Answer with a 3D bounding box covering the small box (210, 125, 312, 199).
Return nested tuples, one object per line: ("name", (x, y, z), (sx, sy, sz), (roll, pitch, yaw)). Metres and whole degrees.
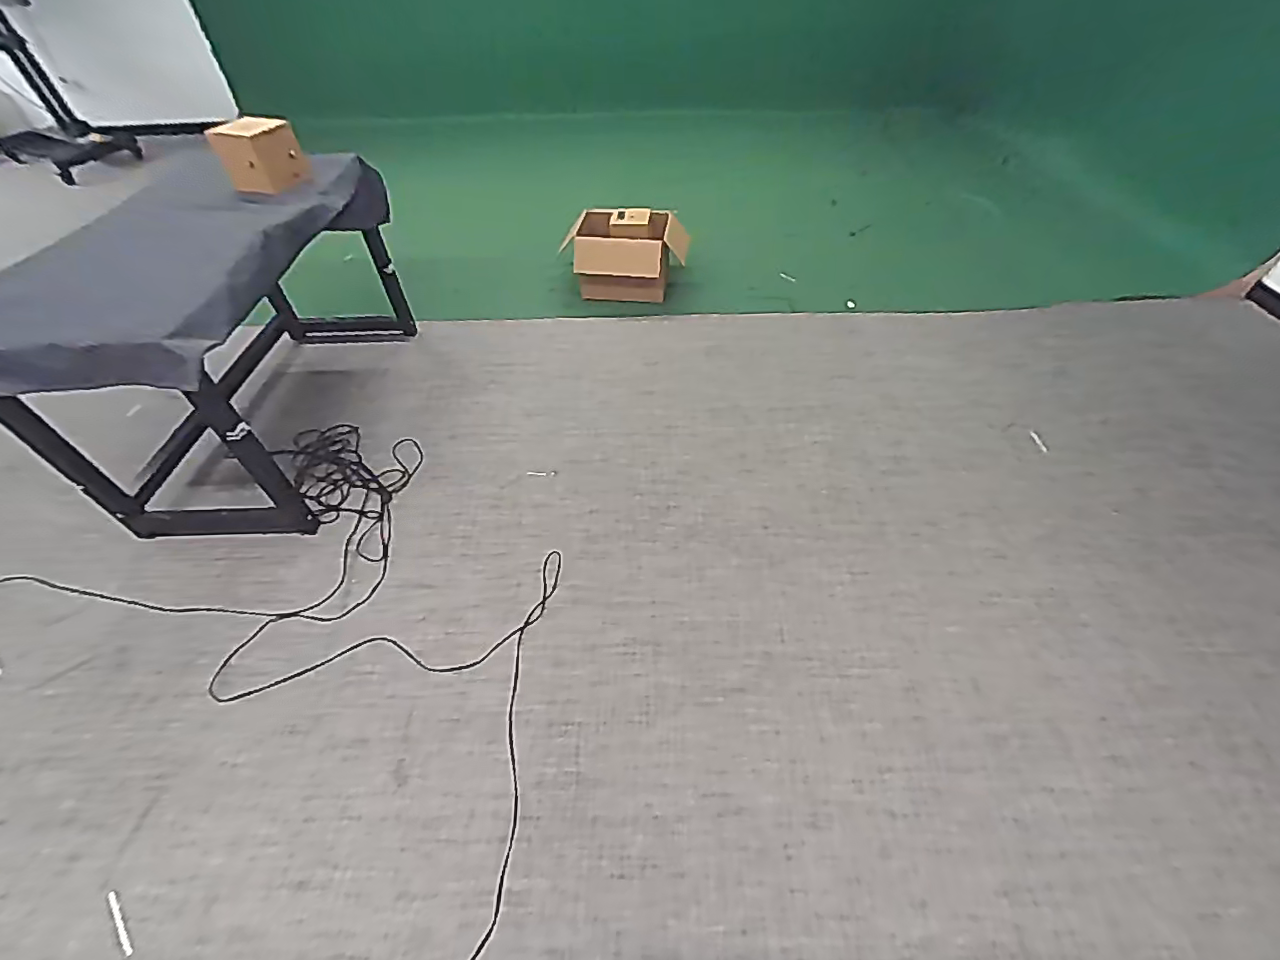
("small box", (-1.213, -1.024, 1.746), (0.179, 0.176, 0.168), (12, 48, 14))
